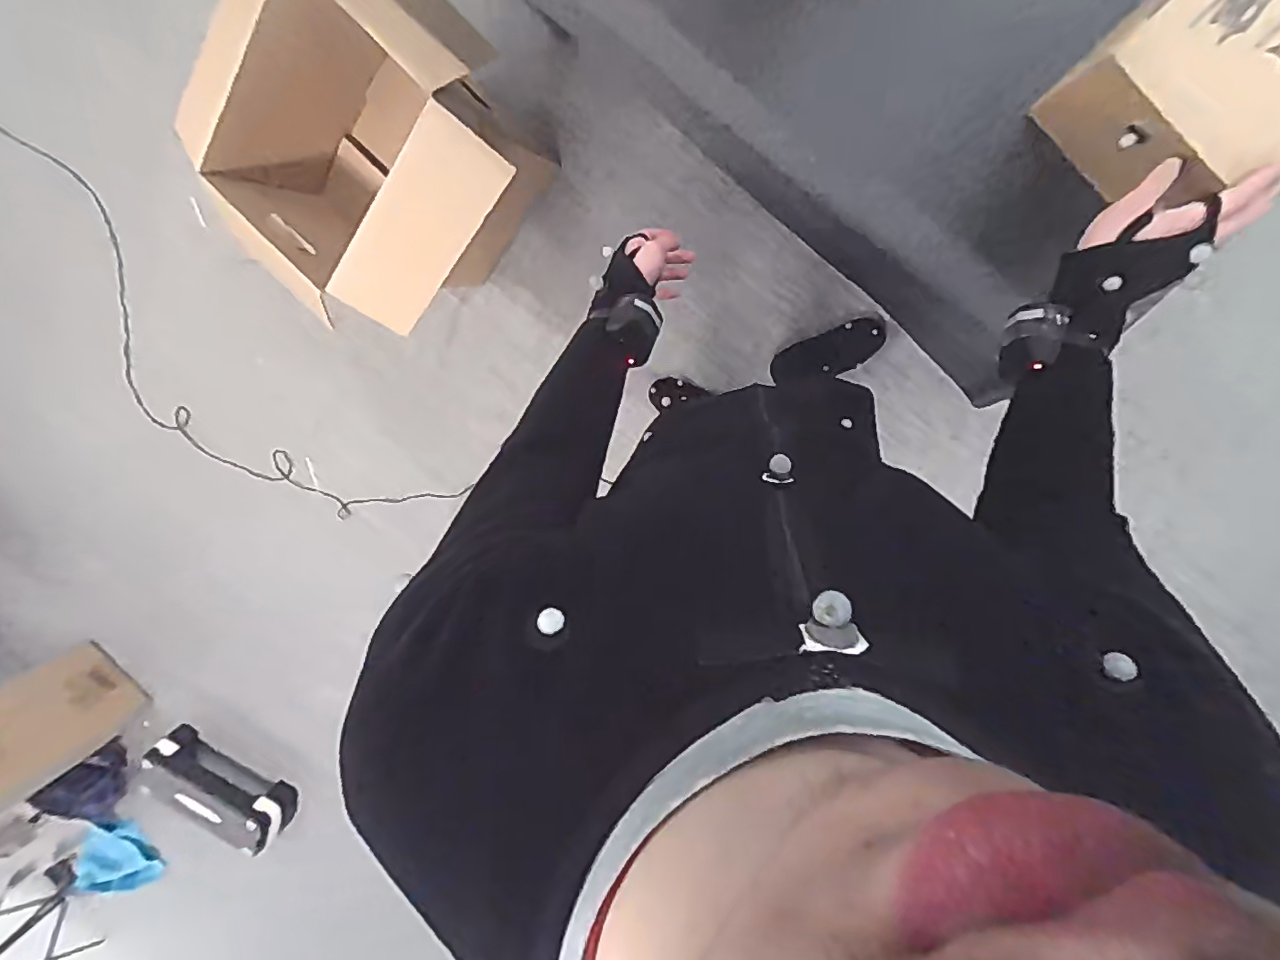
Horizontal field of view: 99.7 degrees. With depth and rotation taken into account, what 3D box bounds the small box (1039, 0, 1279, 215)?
[{"bbox_3d":[0.524,-0.373,0.497,0.179,0.176,0.168,45,114,-4],"label":"small box"}]
